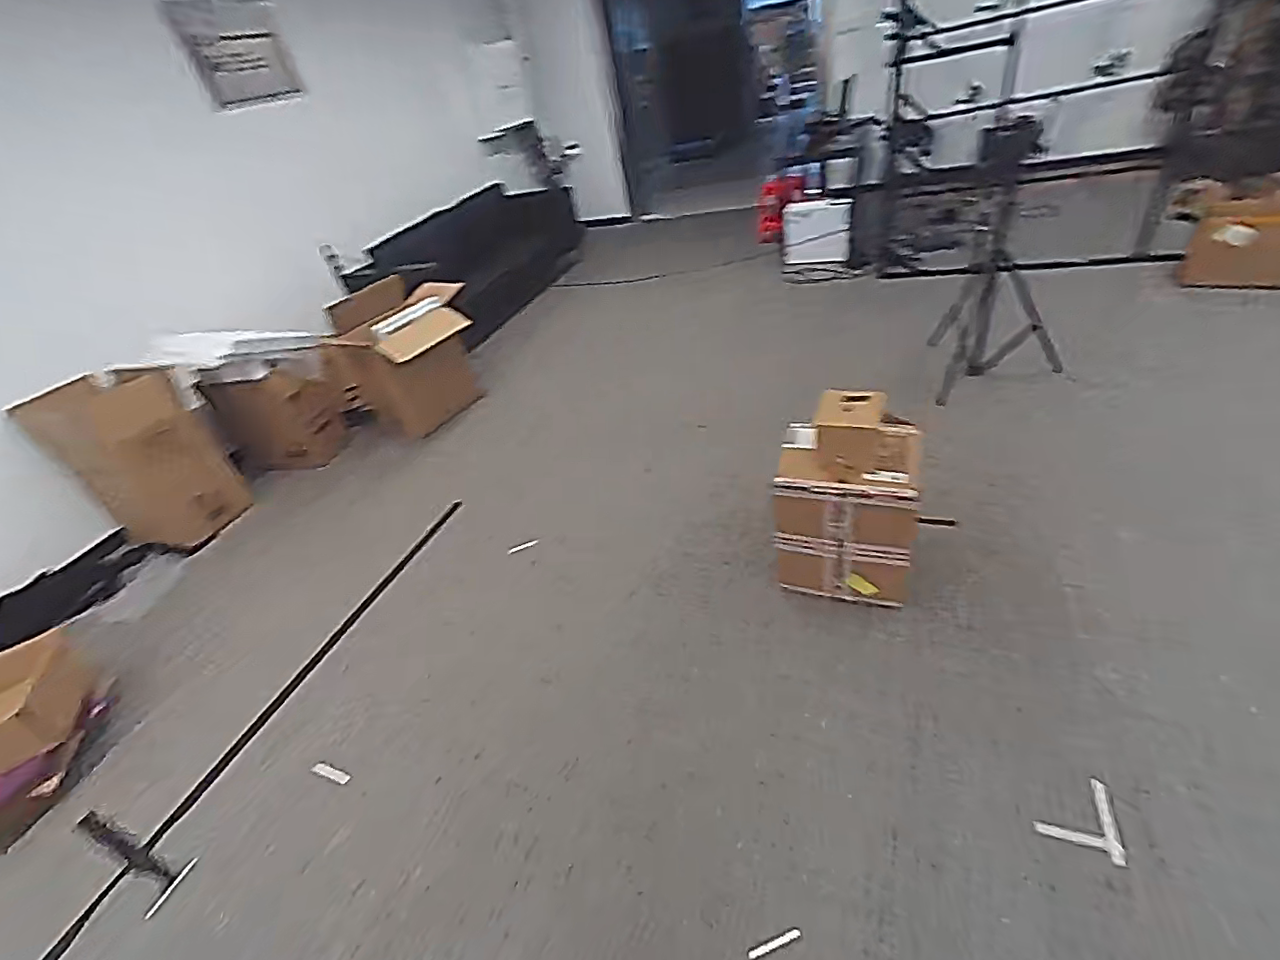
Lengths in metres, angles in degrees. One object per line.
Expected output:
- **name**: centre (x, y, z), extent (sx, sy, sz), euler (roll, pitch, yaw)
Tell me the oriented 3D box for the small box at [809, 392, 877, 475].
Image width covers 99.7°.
- **small box**: centre (0.595, -0.140, 1.588), extent (0.168, 0.176, 0.179), euler (6, 45, 25)
